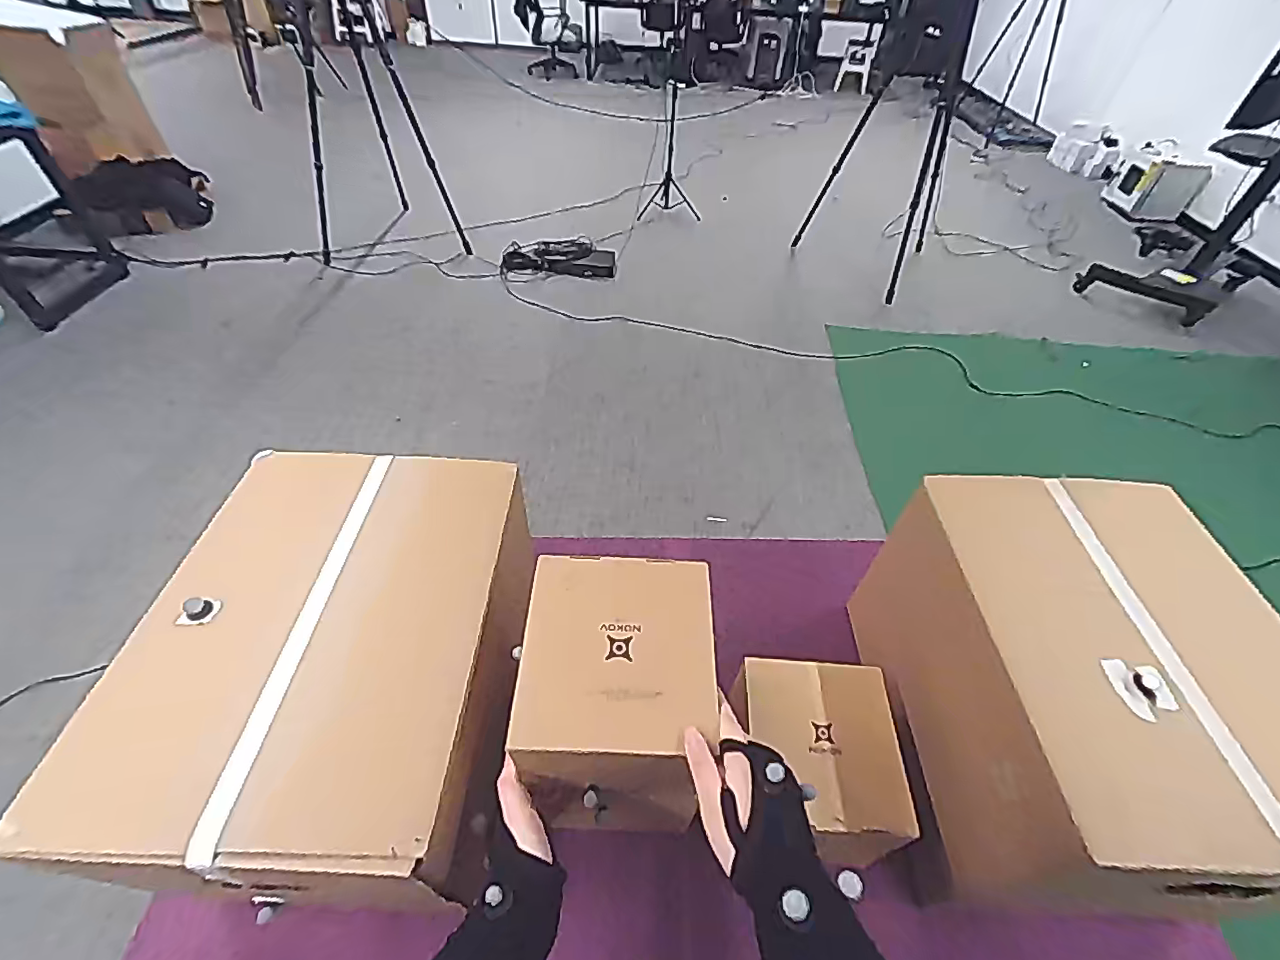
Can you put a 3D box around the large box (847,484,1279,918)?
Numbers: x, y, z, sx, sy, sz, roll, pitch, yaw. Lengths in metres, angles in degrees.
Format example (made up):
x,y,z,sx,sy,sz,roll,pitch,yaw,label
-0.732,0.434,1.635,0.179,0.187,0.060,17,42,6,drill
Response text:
x,y,z,sx,sy,sz,roll,pitch,yaw,label
0.493,0.260,0.659,0.320,0.320,0.408,4,48,0,large box
